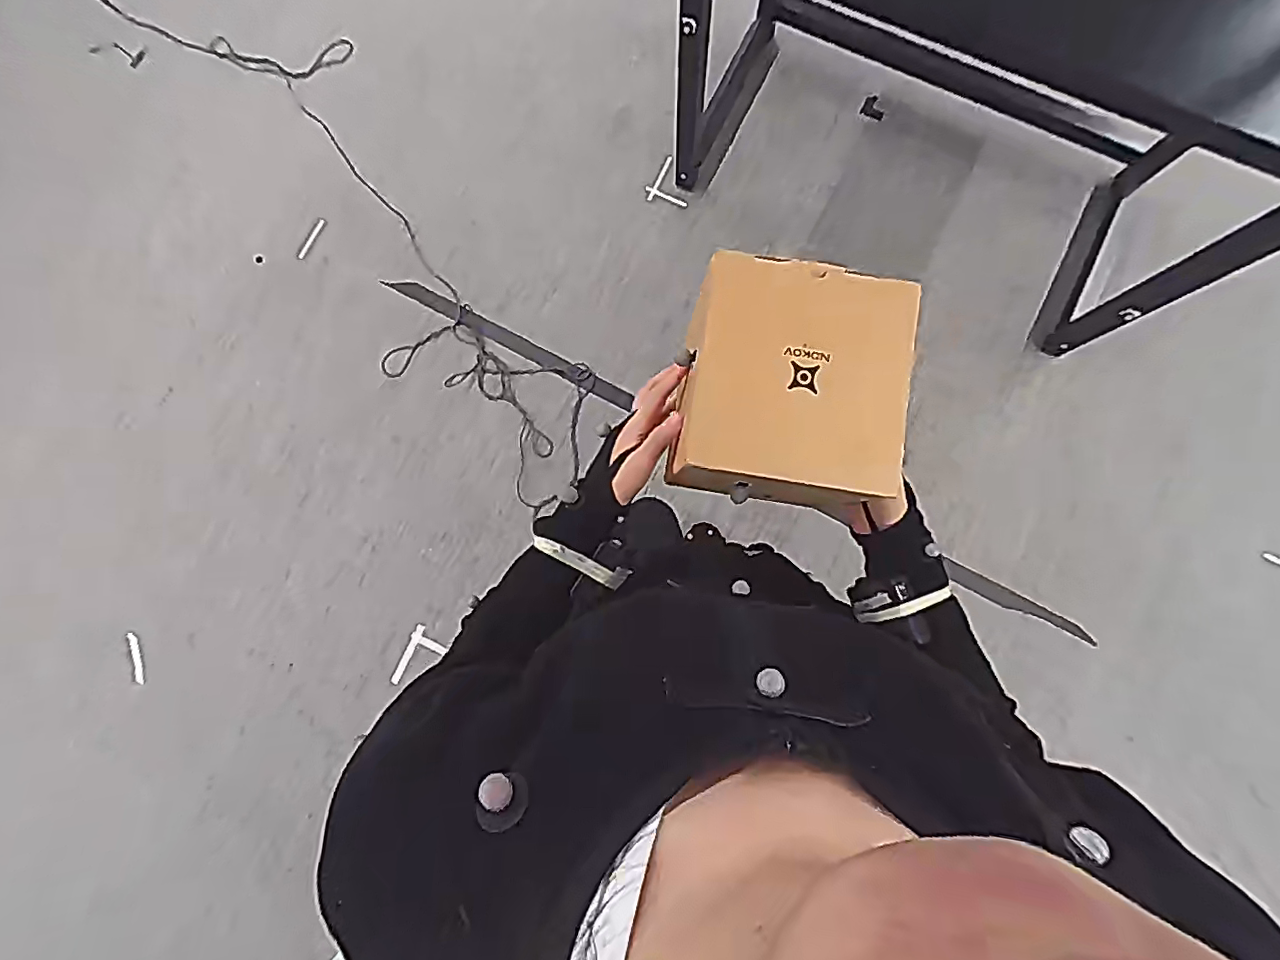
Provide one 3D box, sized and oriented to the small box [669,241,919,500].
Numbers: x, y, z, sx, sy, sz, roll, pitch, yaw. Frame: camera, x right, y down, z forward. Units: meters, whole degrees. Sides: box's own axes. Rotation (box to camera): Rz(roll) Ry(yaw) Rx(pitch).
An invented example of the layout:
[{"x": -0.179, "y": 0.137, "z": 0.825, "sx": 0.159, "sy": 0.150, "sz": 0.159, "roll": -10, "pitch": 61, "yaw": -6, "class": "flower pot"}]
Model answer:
[{"x": 0.122, "y": -0.081, "z": 0.492, "sx": 0.168, "sy": 0.176, "sz": 0.179, "roll": 9, "pitch": 83, "yaw": -2, "class": "small box"}]
